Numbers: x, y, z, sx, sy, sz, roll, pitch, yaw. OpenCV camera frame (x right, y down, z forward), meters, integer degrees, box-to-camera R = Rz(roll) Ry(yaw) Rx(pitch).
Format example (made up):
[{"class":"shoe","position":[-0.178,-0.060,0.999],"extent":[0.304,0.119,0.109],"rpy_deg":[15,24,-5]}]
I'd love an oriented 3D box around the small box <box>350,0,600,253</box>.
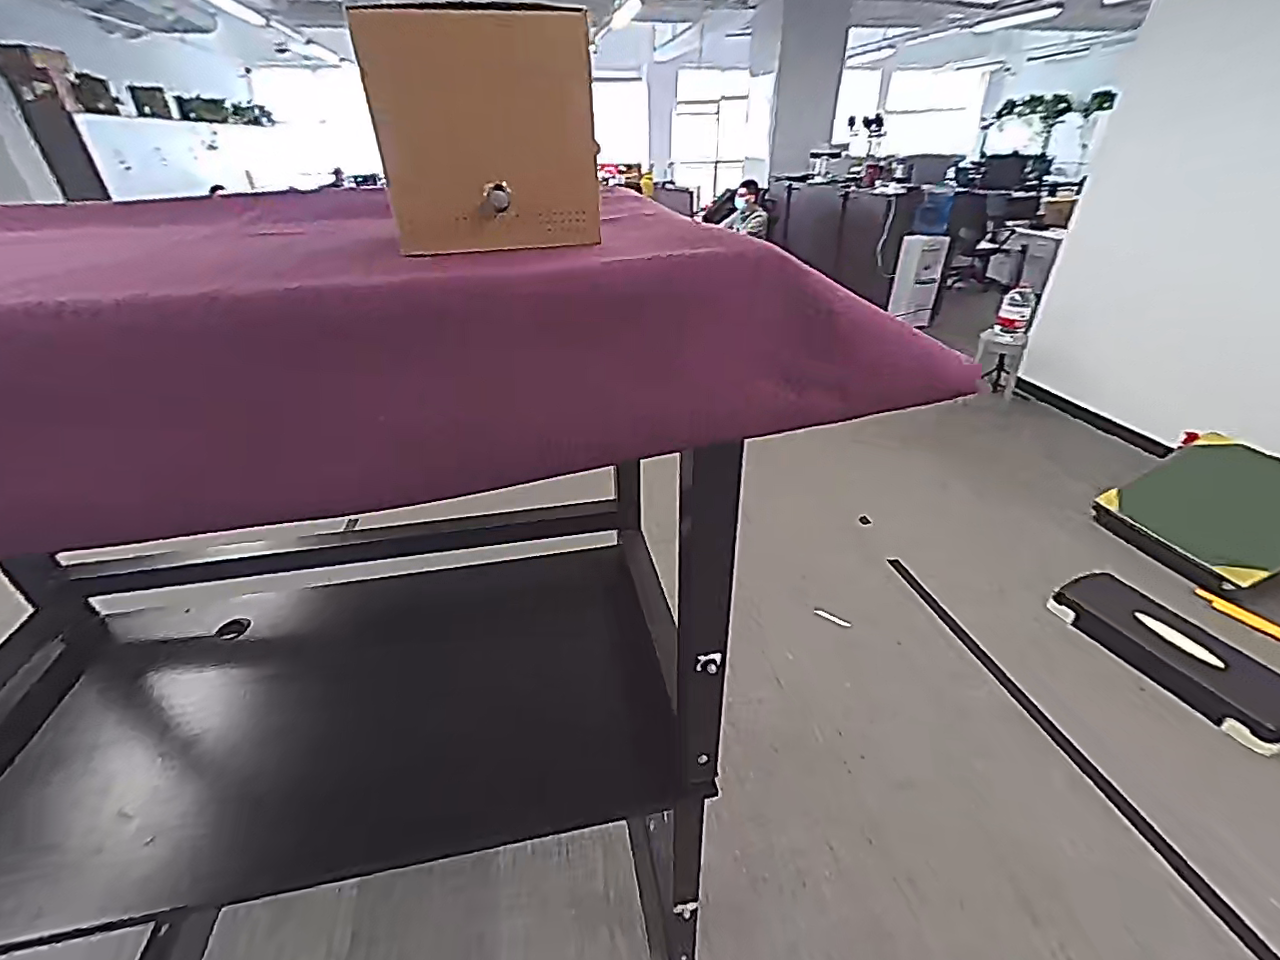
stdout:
[{"class":"small box","position":[-0.133,-0.313,0.497],"extent":[0.179,0.176,0.168],"rpy_deg":[-8,31,-10]}]
